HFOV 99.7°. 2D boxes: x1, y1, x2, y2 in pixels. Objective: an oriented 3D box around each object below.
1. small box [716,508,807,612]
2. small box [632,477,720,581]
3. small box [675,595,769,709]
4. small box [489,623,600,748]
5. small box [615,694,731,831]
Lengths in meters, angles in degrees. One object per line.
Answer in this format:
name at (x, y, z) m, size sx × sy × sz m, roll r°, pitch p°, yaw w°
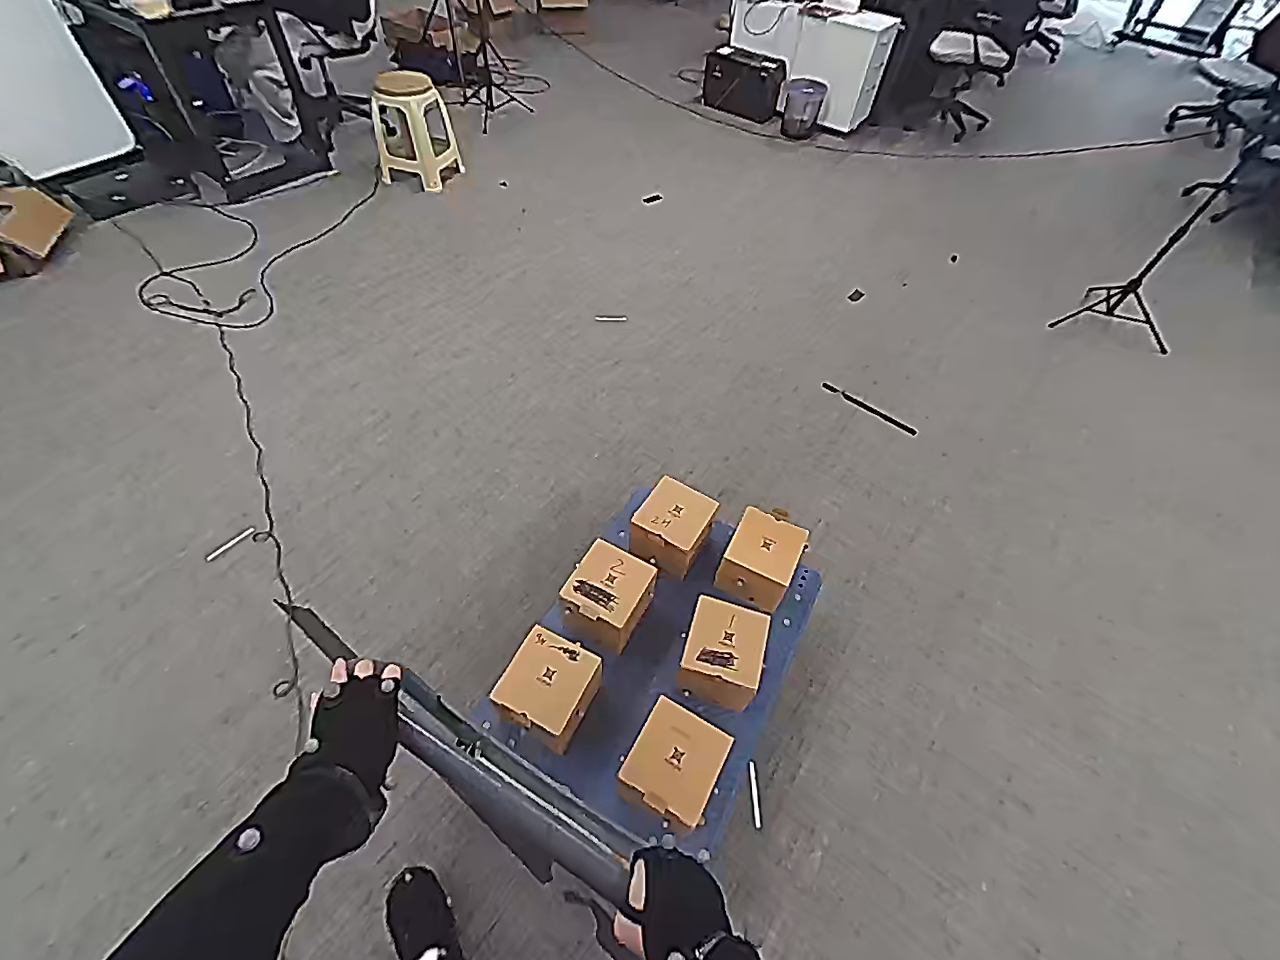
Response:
small box at (0.306, 0.210, 1.392) m, size 0.168 × 0.176 × 0.179 m, roll 24°, pitch 55°, yaw 14°
small box at (0.087, 0.132, 1.431) m, size 0.168 × 0.176 × 0.179 m, roll 28°, pitch 57°, yaw 17°
small box at (0.182, 0.398, 1.238) m, size 0.168 × 0.176 × 0.179 m, roll 17°, pitch 53°, yaw 8°
small box at (-0.196, 0.449, 1.170) m, size 0.168 × 0.176 × 0.179 m, roll 24°, pitch 55°, yaw 13°
small box at (0.063, 0.576, 1.094) m, size 0.168 × 0.176 × 0.179 m, roll 28°, pitch 55°, yaw 15°
